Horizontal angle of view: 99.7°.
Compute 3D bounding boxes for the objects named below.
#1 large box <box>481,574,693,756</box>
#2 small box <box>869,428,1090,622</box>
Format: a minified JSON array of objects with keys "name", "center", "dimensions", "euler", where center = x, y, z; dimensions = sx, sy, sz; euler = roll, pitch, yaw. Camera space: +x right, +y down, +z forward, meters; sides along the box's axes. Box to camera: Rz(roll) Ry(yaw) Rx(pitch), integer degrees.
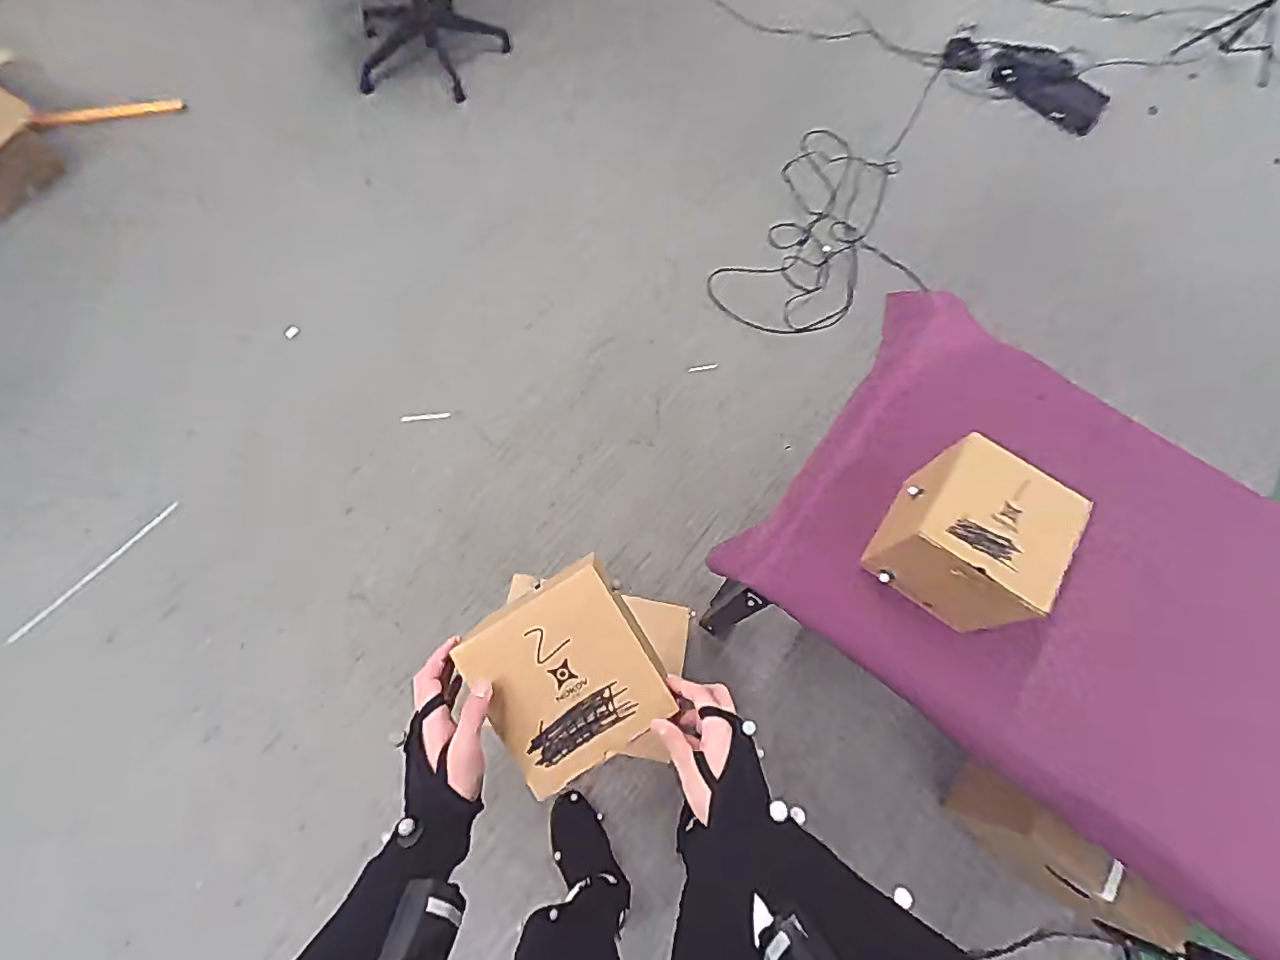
[{"name":"large box","center":[-0.113,0.434,1.271],"dimensions":[0.408,0.320,0.320],"euler":[11,68,0]},{"name":"small box","center":[0.443,0.070,0.735],"dimensions":[0.168,0.176,0.179],"euler":[35,69,10]}]
